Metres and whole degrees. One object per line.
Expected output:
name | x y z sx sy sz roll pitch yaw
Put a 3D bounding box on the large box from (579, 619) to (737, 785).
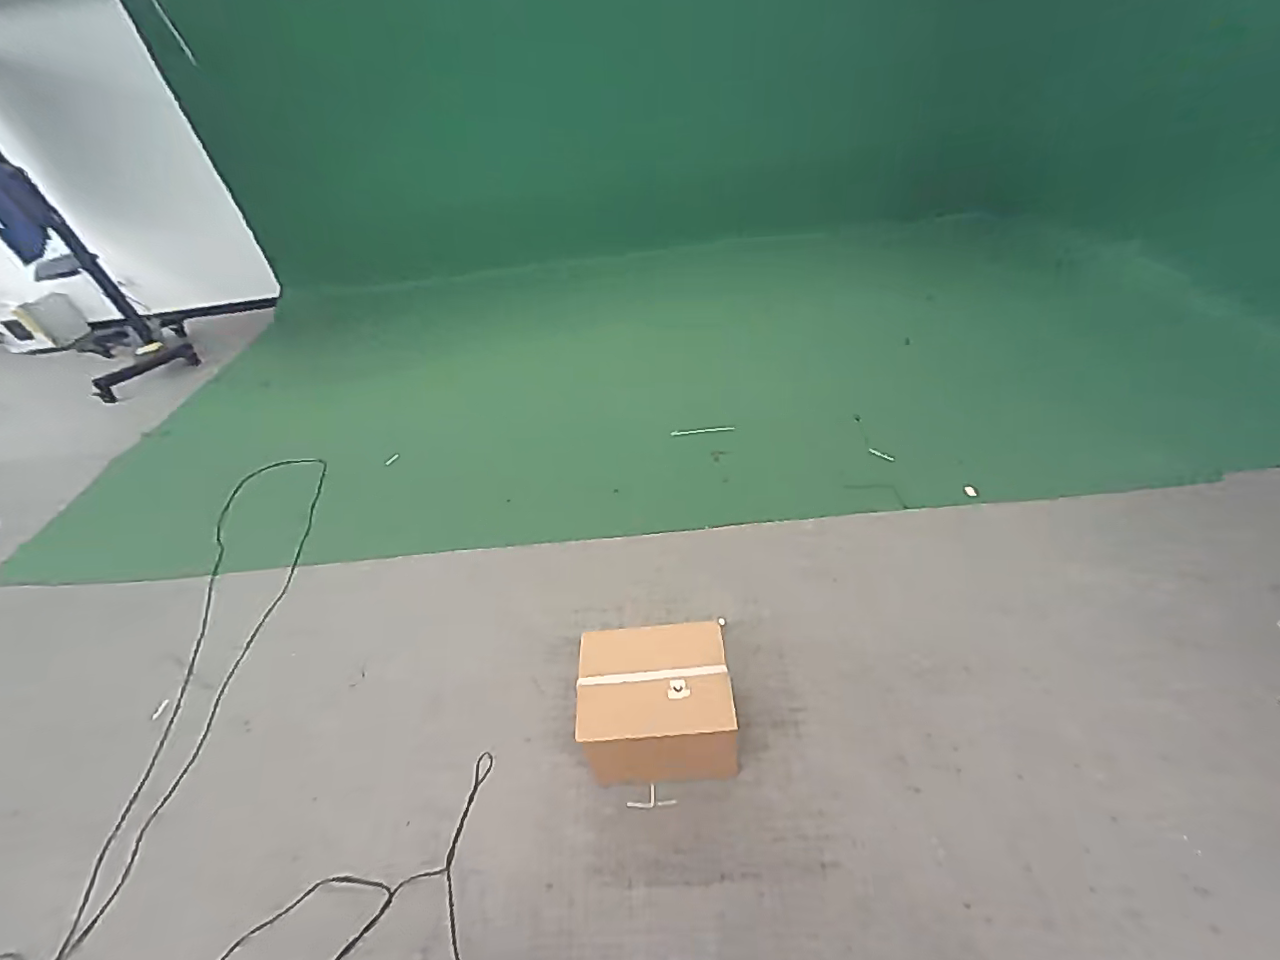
large box | 0.050 0.636 1.547 0.408 0.320 0.320 -6 41 2
